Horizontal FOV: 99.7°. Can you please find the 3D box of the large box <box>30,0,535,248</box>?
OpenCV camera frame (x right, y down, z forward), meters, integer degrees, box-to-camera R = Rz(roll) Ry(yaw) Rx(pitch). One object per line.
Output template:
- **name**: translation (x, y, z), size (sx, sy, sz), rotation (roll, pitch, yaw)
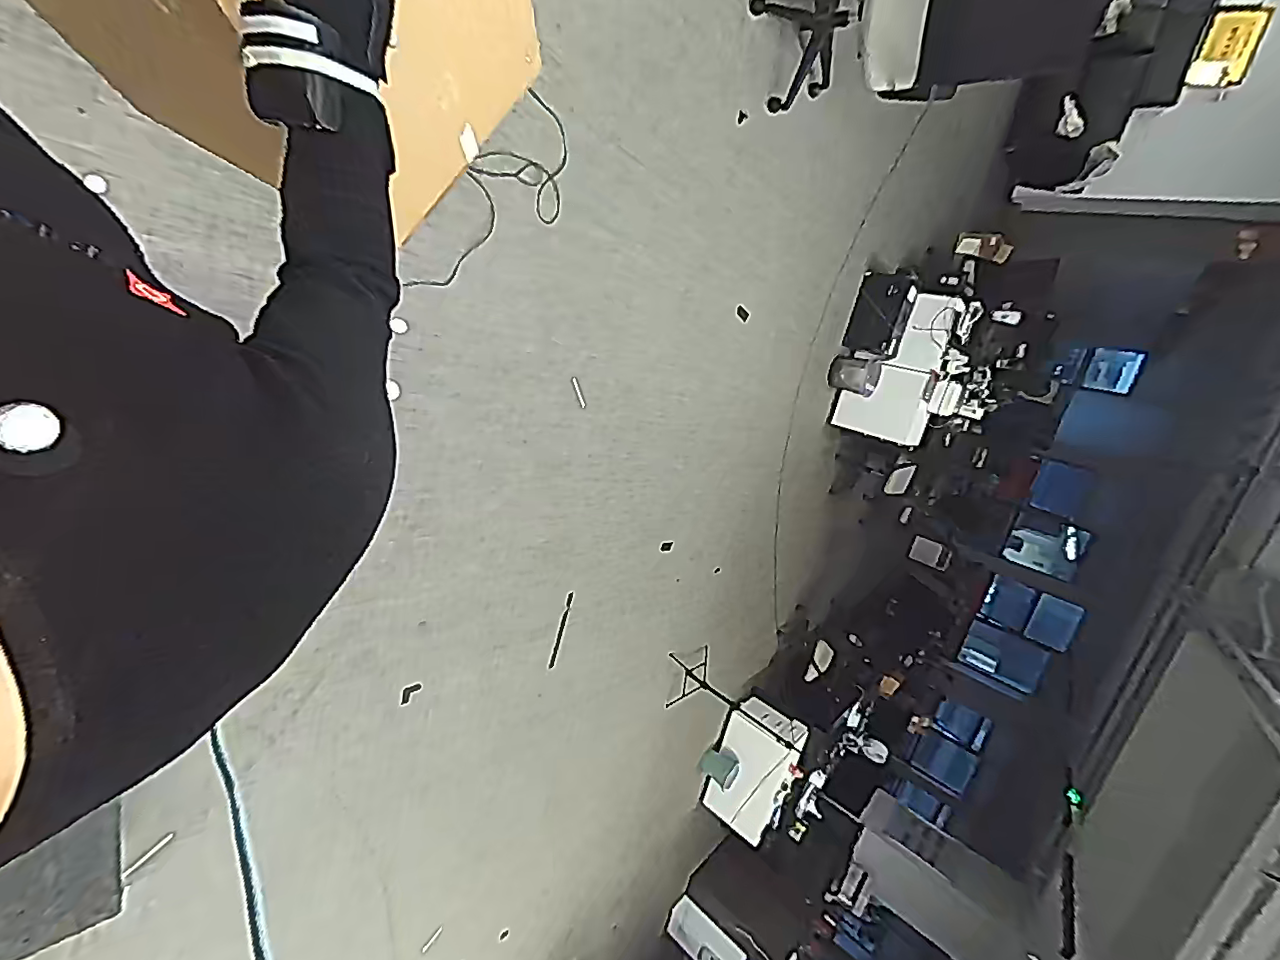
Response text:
- **large box**: translation (-0.376, -0.521, 0.541), size (0.320, 0.408, 0.320), rotation (-58, 172, -11)
